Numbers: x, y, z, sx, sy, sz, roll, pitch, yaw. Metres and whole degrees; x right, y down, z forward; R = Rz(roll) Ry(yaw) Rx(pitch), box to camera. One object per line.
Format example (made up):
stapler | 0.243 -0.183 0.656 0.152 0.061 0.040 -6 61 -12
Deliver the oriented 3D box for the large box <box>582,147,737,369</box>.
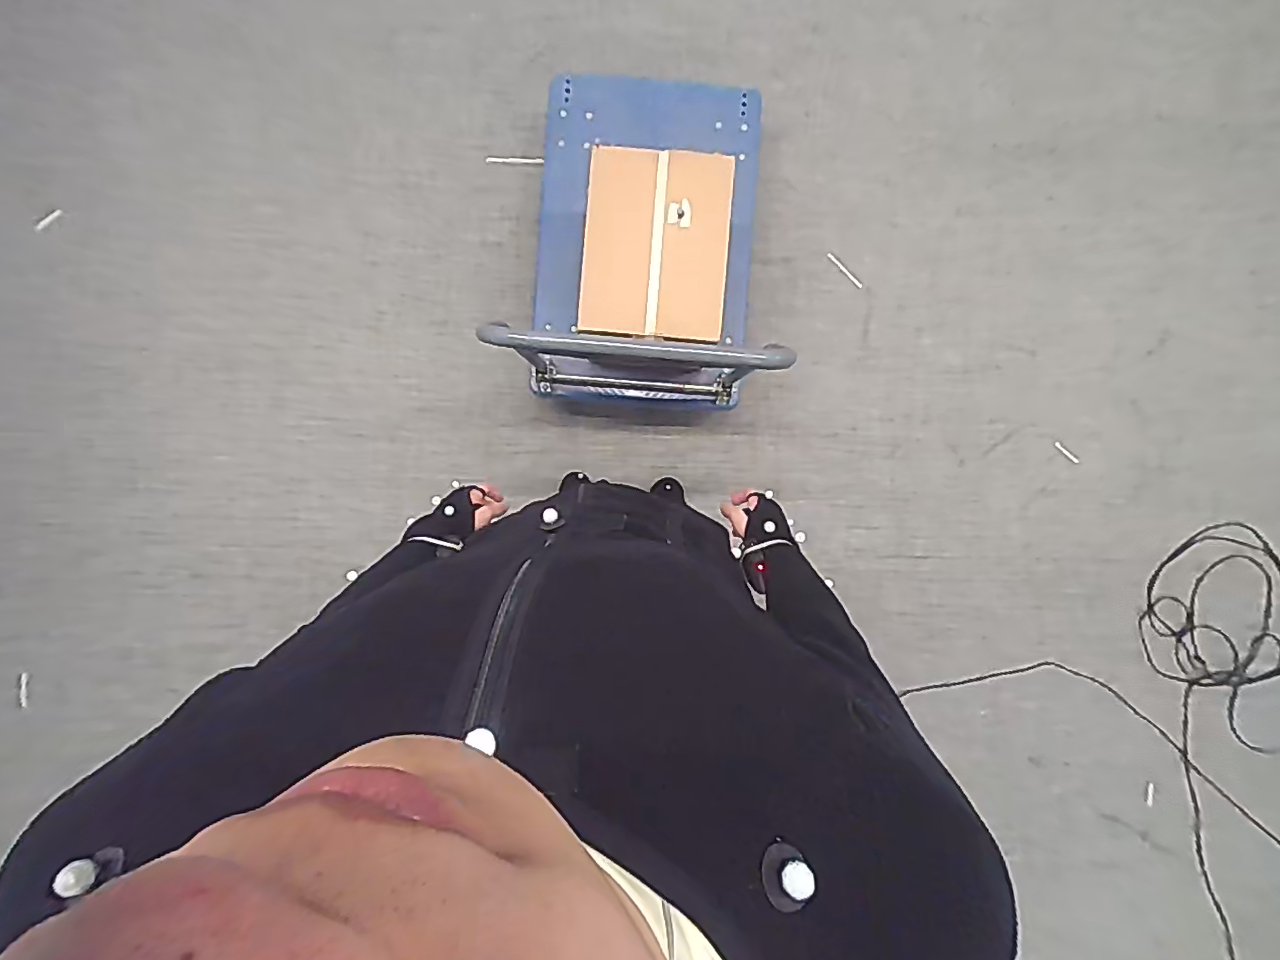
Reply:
large box | 0.042 -0.502 1.303 0.320 0.320 0.408 5 89 -1
